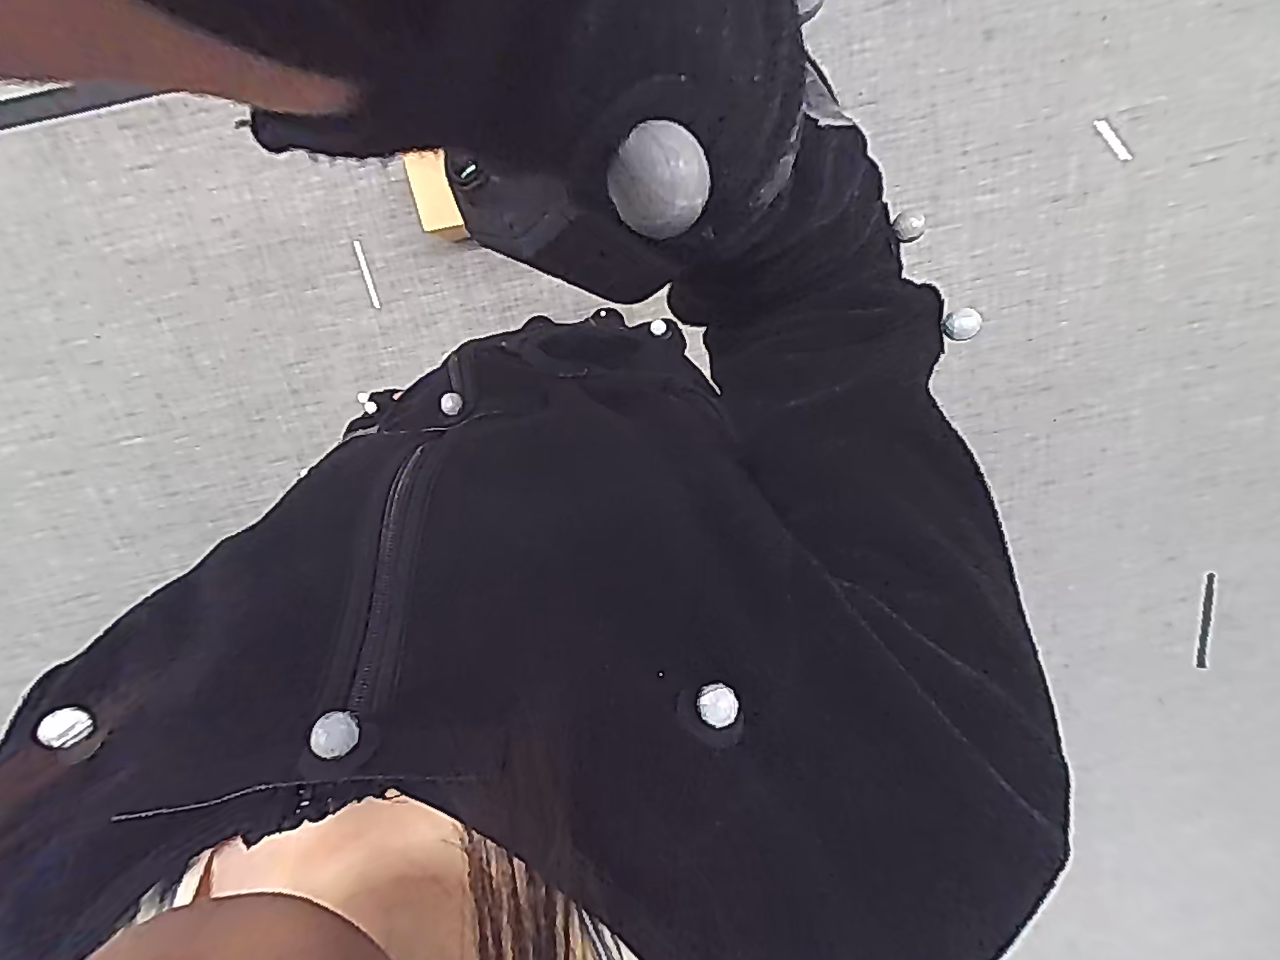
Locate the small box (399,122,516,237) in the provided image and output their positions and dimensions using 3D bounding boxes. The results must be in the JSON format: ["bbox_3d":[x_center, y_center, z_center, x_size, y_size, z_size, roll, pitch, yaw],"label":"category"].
[{"bbox_3d":[-0.375,-0.624,1.144,0.179,0.176,0.168,-12,108,-2],"label":"small box"}]
